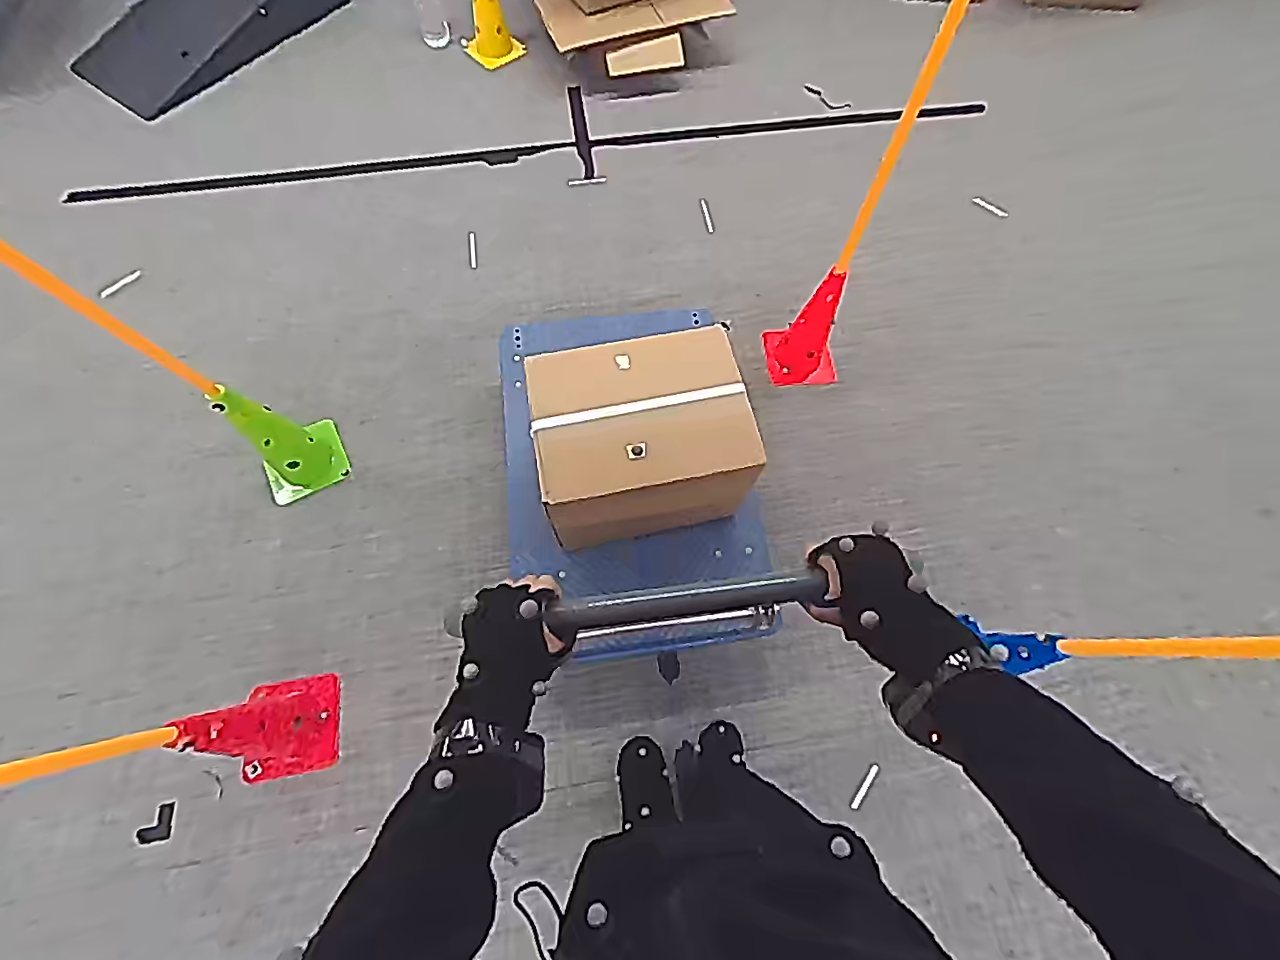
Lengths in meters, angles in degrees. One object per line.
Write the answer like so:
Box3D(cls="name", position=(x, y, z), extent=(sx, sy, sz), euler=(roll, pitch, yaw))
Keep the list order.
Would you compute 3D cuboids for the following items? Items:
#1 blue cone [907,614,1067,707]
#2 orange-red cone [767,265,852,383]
Box3D(cls="blue cone", position=(0.765, 0.369, 1.156), extent=(0.193, 0.380, 0.192), euler=(-12, 67, -7))
Box3D(cls="orange-red cone", position=(0.493, -0.441, 1.472), extent=(0.199, 0.360, 0.198), euler=(-2, 68, -3))
